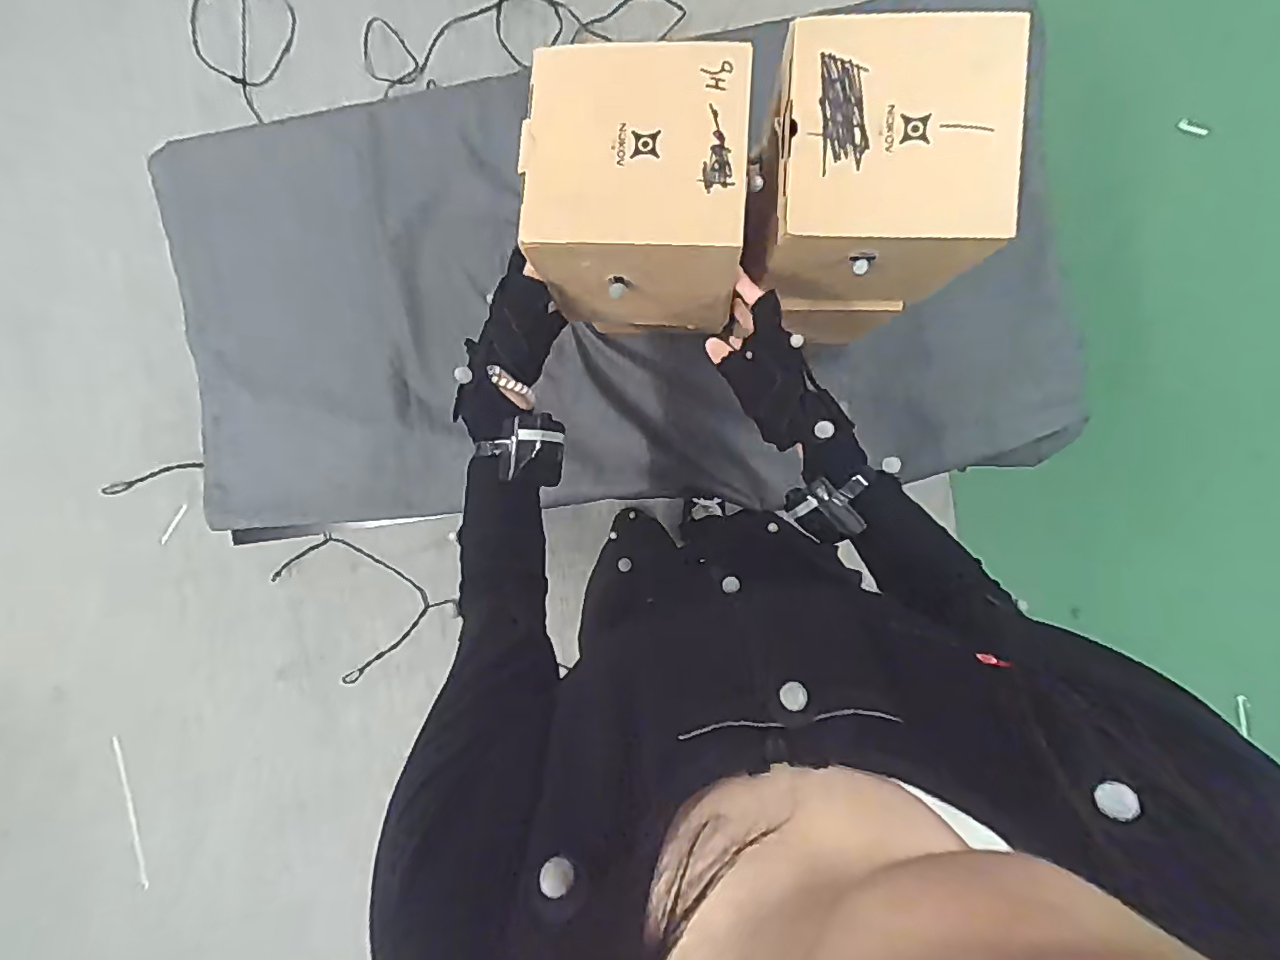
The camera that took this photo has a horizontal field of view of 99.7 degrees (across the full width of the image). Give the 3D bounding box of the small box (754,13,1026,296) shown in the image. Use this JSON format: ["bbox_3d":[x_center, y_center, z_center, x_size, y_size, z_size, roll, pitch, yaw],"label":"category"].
[{"bbox_3d":[0.204,-0.274,0.493,0.179,0.176,0.168,3,94,3],"label":"small box"}]
